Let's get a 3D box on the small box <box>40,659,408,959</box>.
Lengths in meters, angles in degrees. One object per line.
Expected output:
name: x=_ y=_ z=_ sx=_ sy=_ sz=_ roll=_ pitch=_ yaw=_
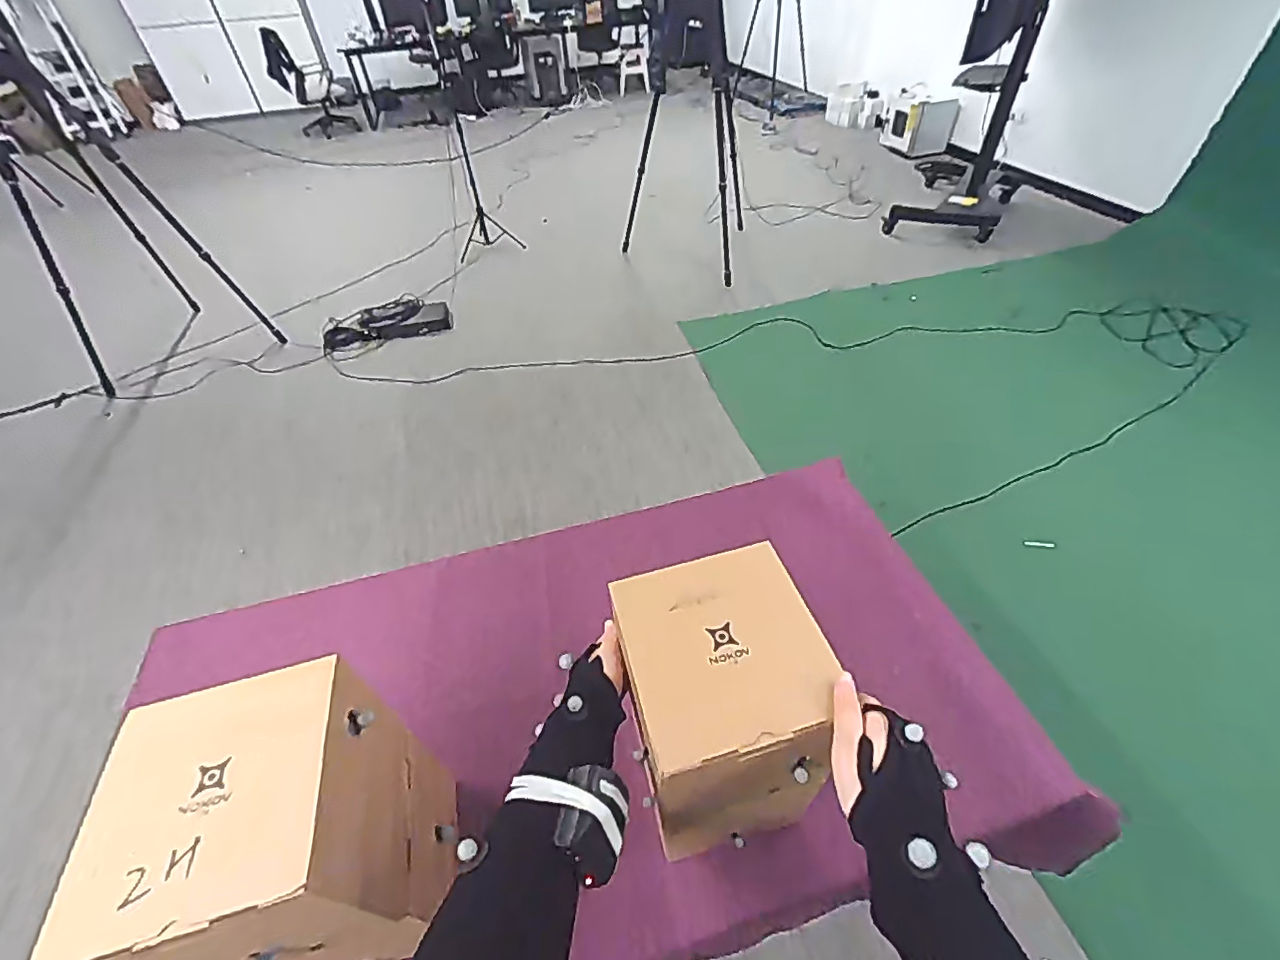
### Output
small box: x=-0.309 y=0.287 z=0.457 sx=0.168 sy=0.176 sz=0.179 roll=-14 pitch=47 yaw=-8

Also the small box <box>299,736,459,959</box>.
small box: x=-0.299 y=0.406 z=0.572 sx=0.179 sy=0.176 sz=0.168 roll=-14 pitch=46 yaw=-11
